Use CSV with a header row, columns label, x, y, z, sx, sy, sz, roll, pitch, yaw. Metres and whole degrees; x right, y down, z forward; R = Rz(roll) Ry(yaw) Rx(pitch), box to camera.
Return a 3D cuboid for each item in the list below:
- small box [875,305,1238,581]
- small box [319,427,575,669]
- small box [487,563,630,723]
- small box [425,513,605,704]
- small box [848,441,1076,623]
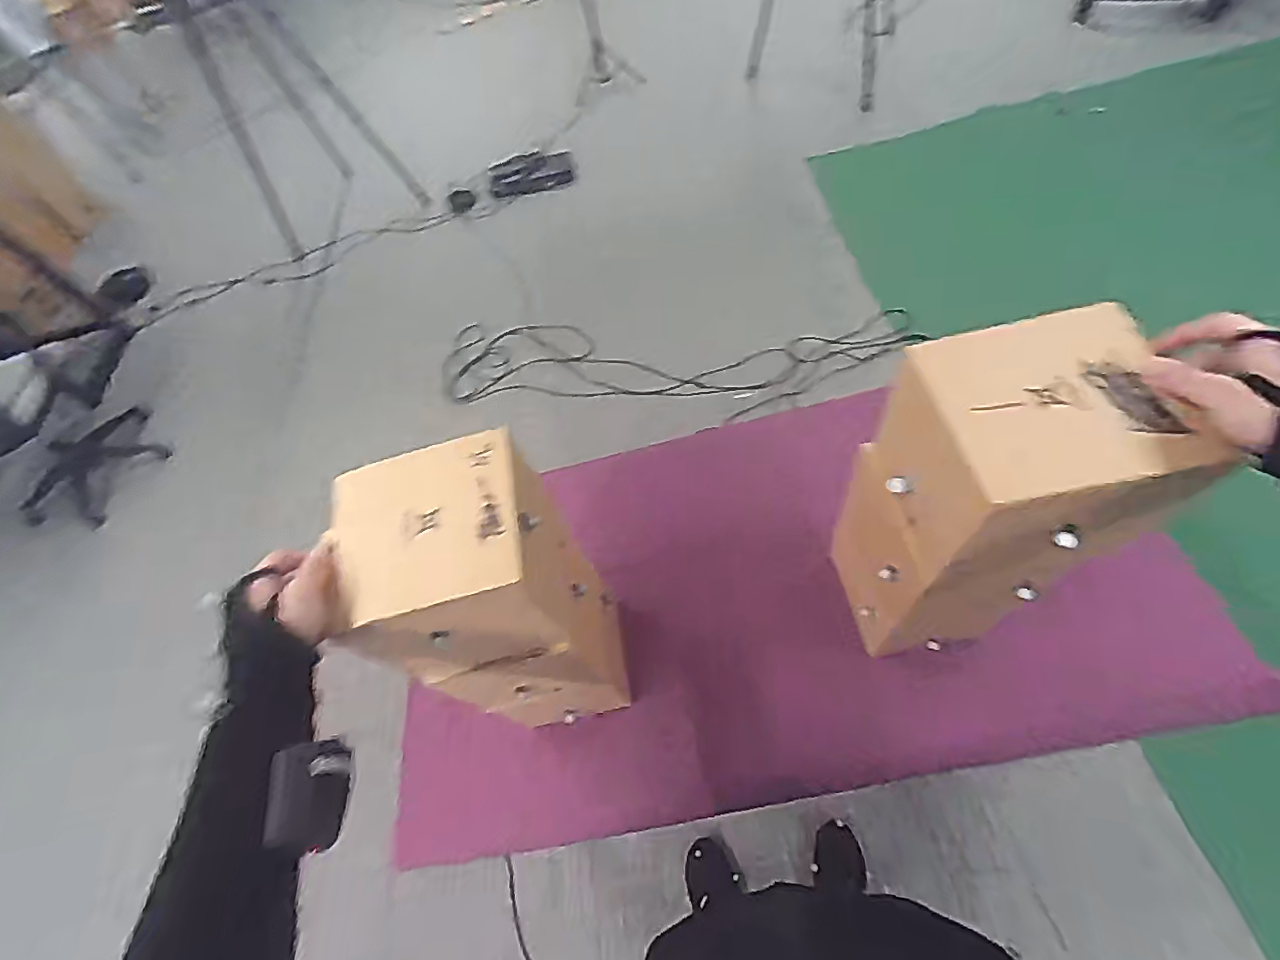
label,x,y,z,sx,sy,sz,roll,pitch,yaw
small box,0.337,-0.023,0.490,0.179,0.176,0.168,-11,57,7
small box,-0.181,0.078,0.551,0.179,0.176,0.168,-16,56,4
small box,-0.119,0.252,0.820,0.168,0.176,0.179,-14,57,5
small box,-0.150,0.166,0.686,0.168,0.176,0.179,-14,57,4
small box,0.359,0.055,0.631,0.168,0.176,0.179,-13,56,5
